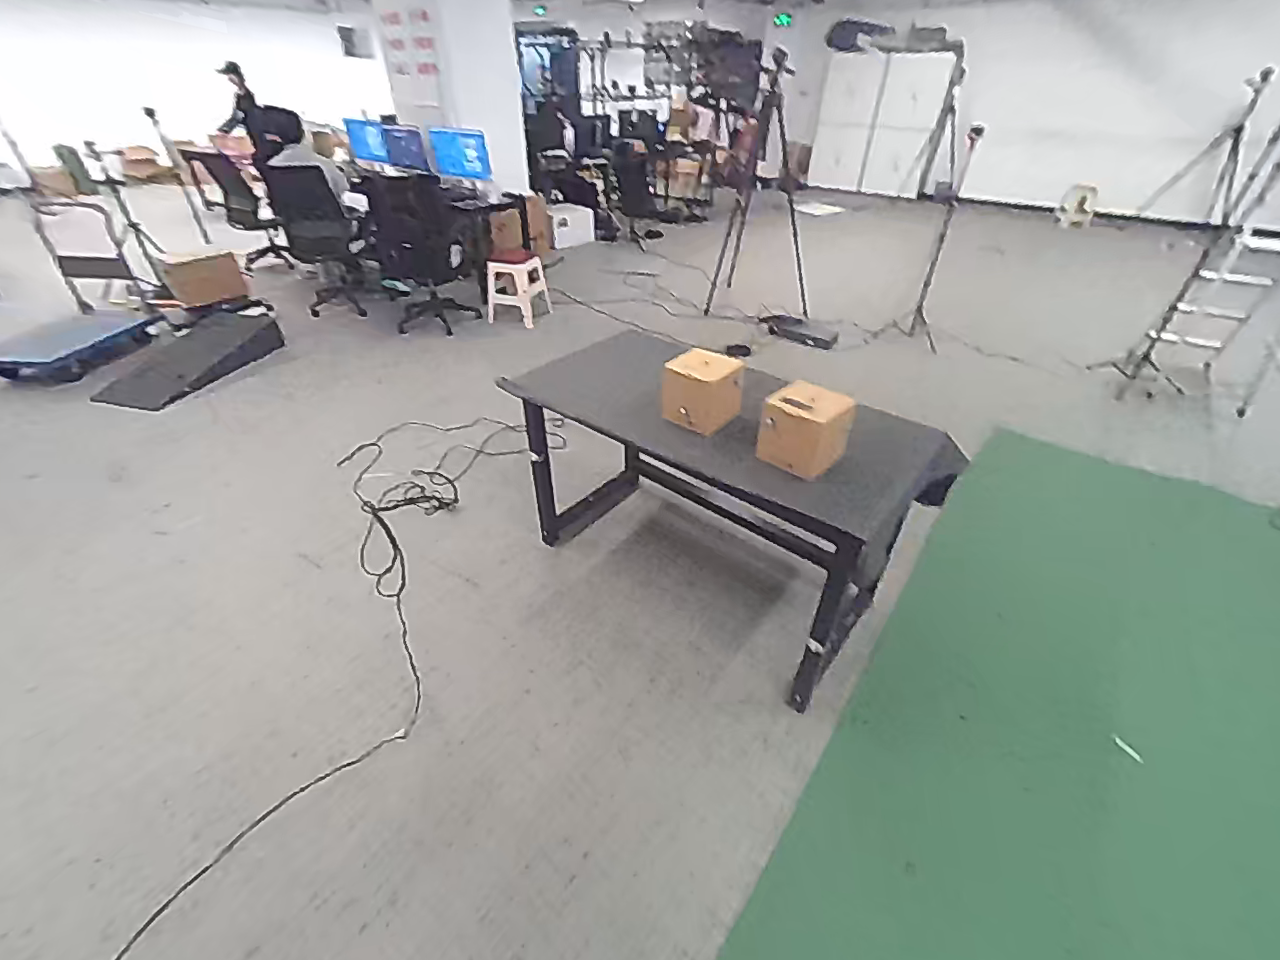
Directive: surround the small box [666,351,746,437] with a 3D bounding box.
[{"bbox_3d":[0.184,-0.250,1.567,0.168,0.176,0.179,26,42,30],"label":"small box"}]
